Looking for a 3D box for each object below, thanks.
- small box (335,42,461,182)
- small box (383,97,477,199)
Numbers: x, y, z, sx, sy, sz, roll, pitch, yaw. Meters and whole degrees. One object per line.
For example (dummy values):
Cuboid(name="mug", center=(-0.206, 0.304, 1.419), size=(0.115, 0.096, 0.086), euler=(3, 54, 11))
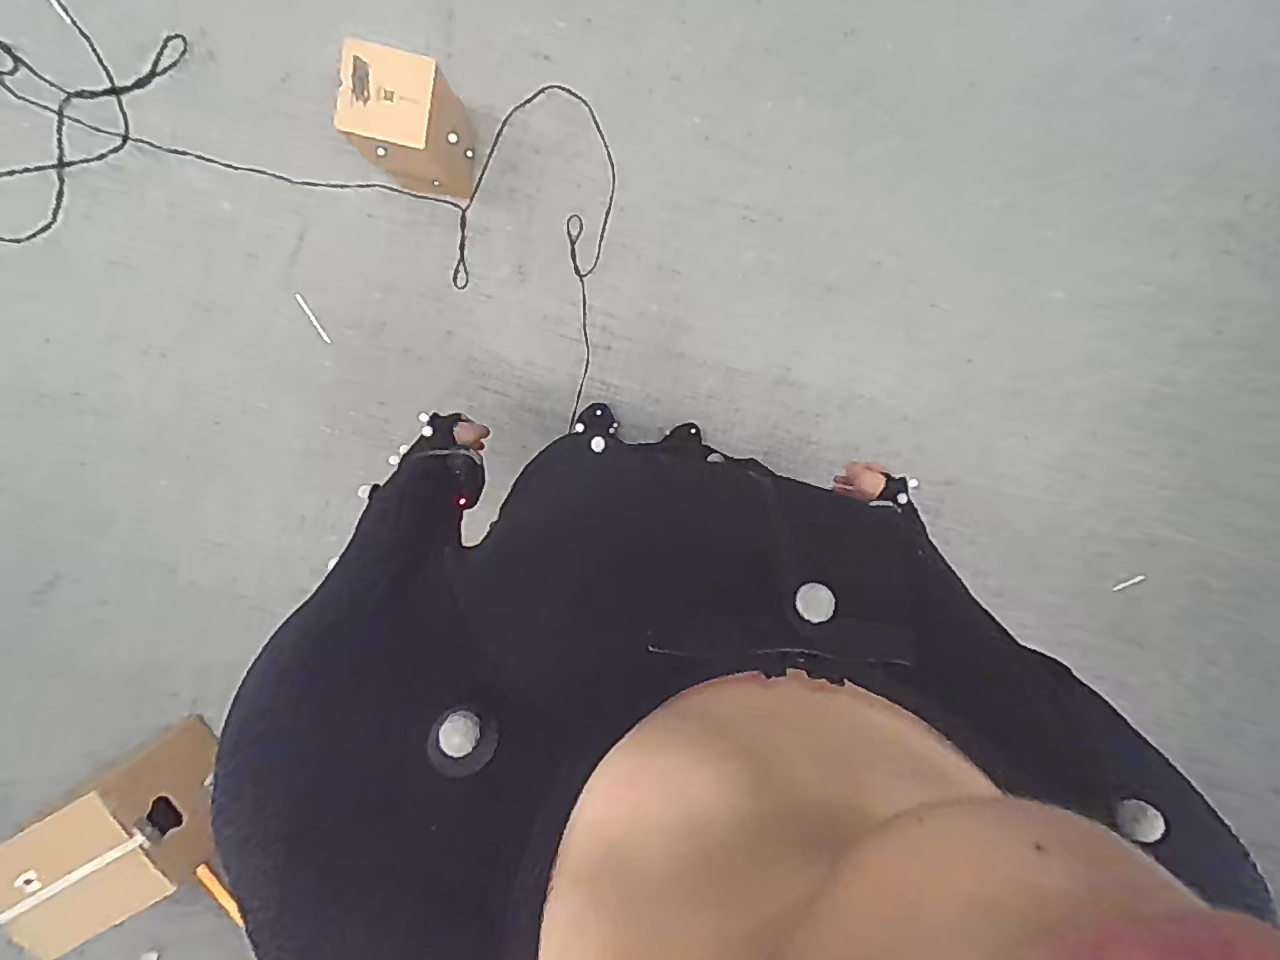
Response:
Cuboid(name="small box", center=(-0.487, -0.741, 1.110), size=(0.179, 0.176, 0.168), euler=(11, 98, -4))
Cuboid(name="small box", center=(-0.493, -0.782, 1.269), size=(0.179, 0.176, 0.168), euler=(8, 97, -3))
